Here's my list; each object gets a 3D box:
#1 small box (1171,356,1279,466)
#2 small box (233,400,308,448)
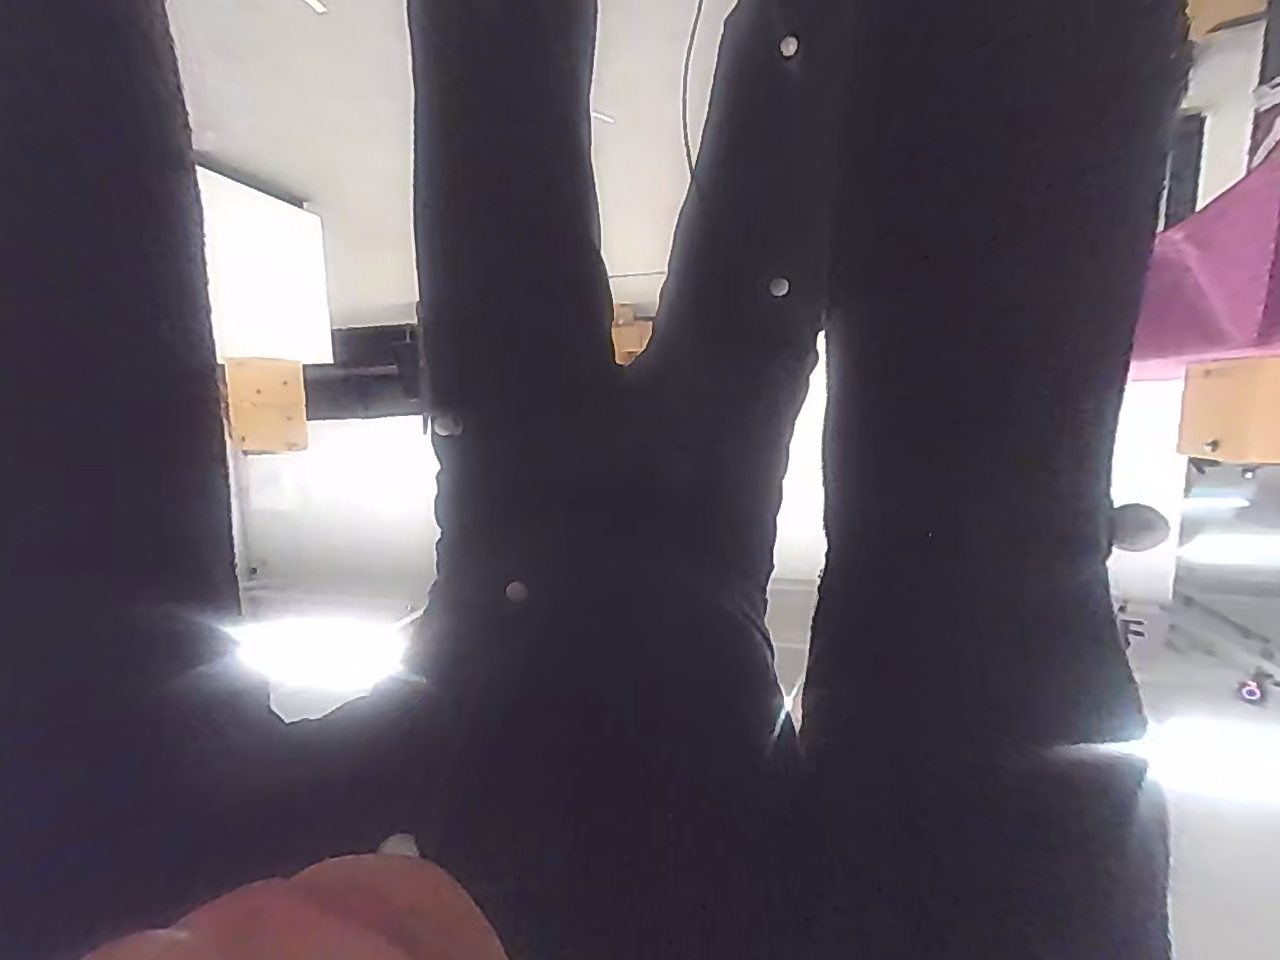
[{"bbox_3d":[1.041,-0.118,0.890,0.179,0.176,0.168,1,-172,16],"label":"small box"},{"bbox_3d":[-1.394,-0.214,2.039,0.179,0.176,0.168,1,-170,10],"label":"small box"}]
